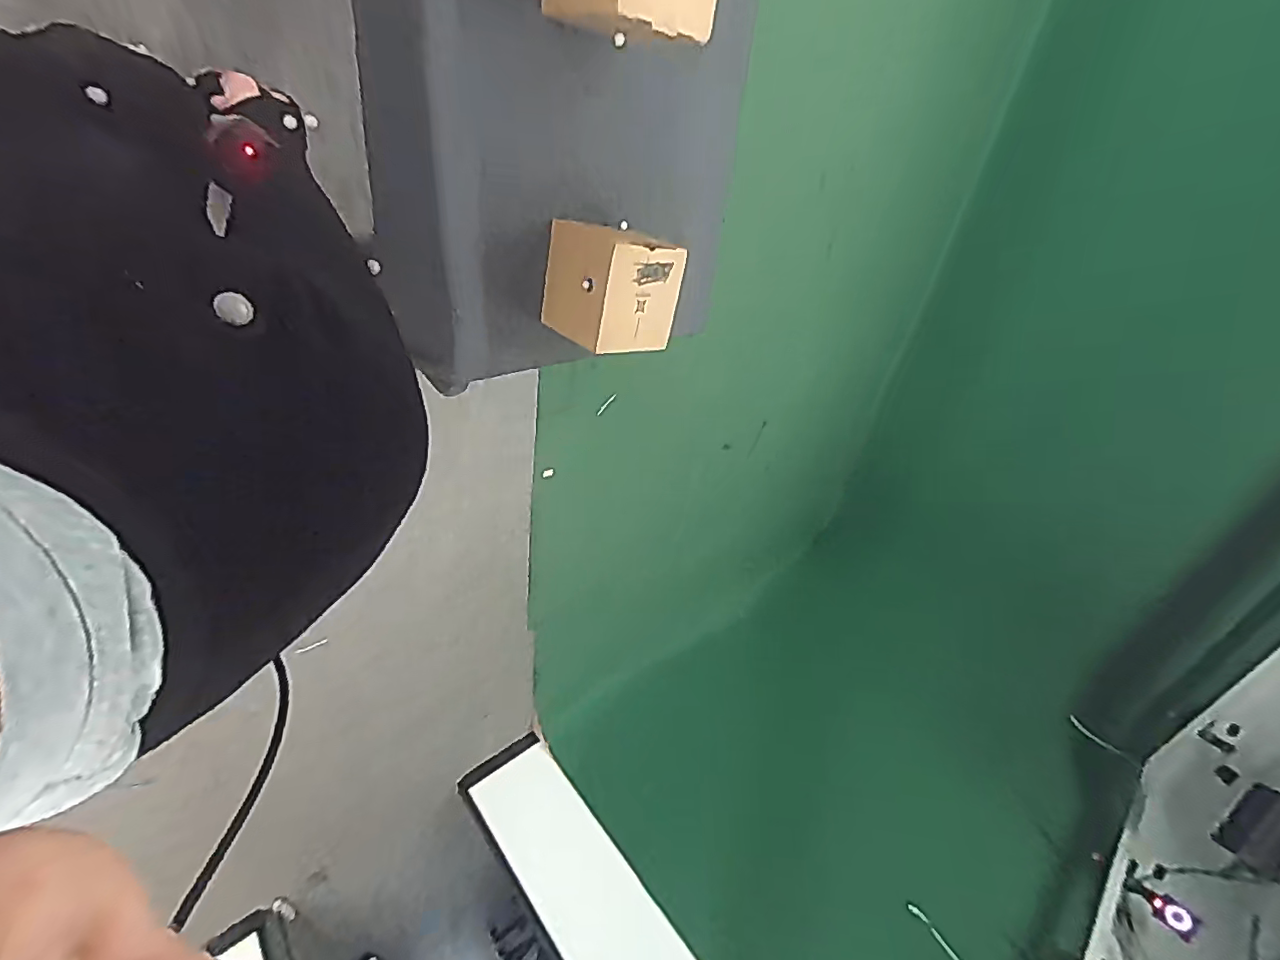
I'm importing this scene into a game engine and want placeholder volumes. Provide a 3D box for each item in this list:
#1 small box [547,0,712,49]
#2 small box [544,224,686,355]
[{"bbox_3d":[-0.013,-0.683,0.692,0.168,0.176,0.179,-20,133,-38],"label":"small box"},{"bbox_3d":[-0.050,-0.331,0.939,0.168,0.176,0.179,-15,130,-41],"label":"small box"}]
